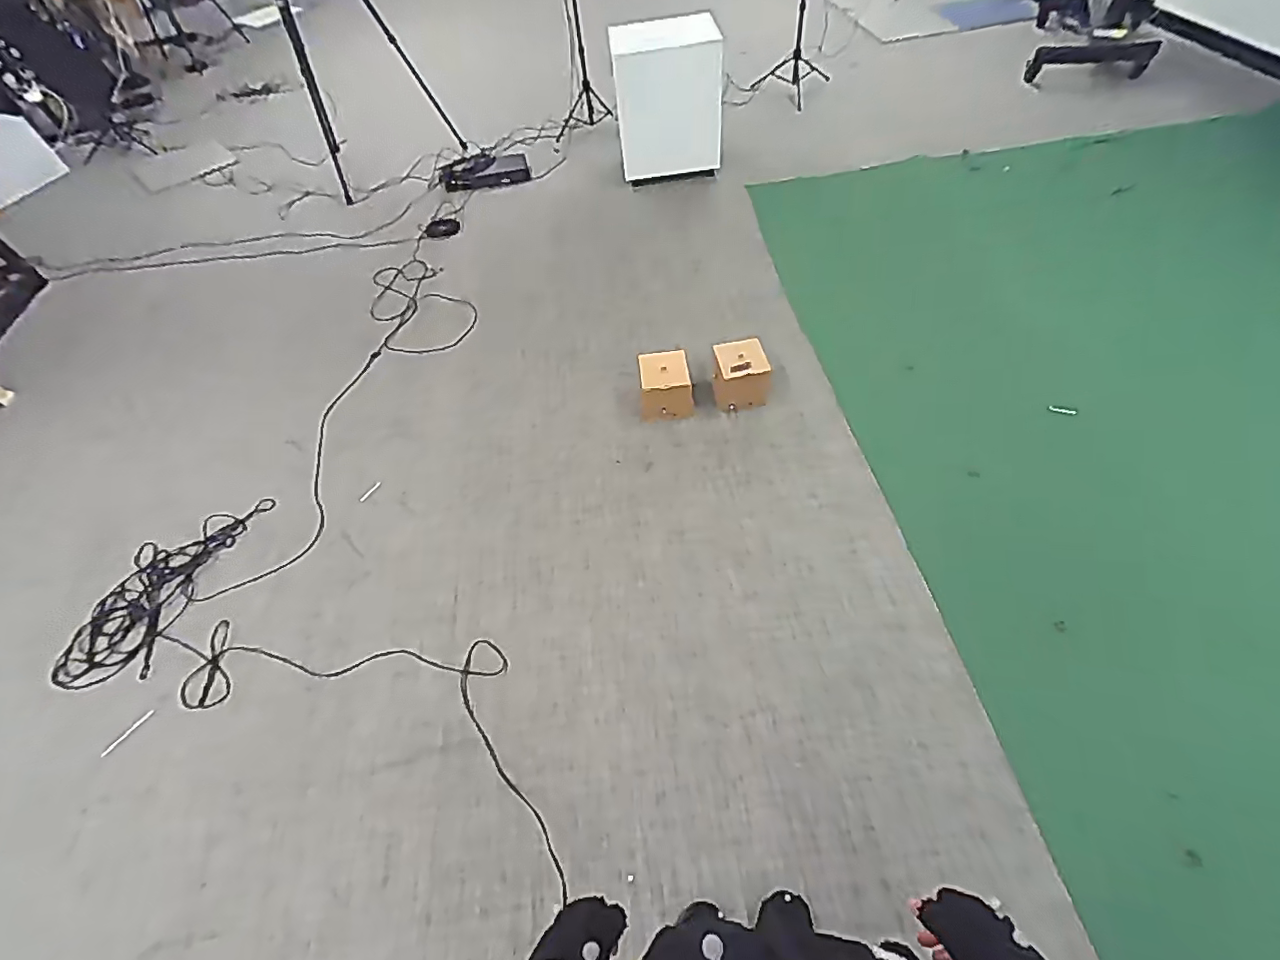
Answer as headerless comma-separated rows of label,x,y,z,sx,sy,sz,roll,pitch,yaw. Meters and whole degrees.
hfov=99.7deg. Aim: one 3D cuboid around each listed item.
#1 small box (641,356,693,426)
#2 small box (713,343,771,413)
small box,0.094,-0.316,1.929,0.168,0.176,0.179,-7,54,1
small box,0.360,-0.355,1.928,0.168,0.176,0.179,-10,53,-1
